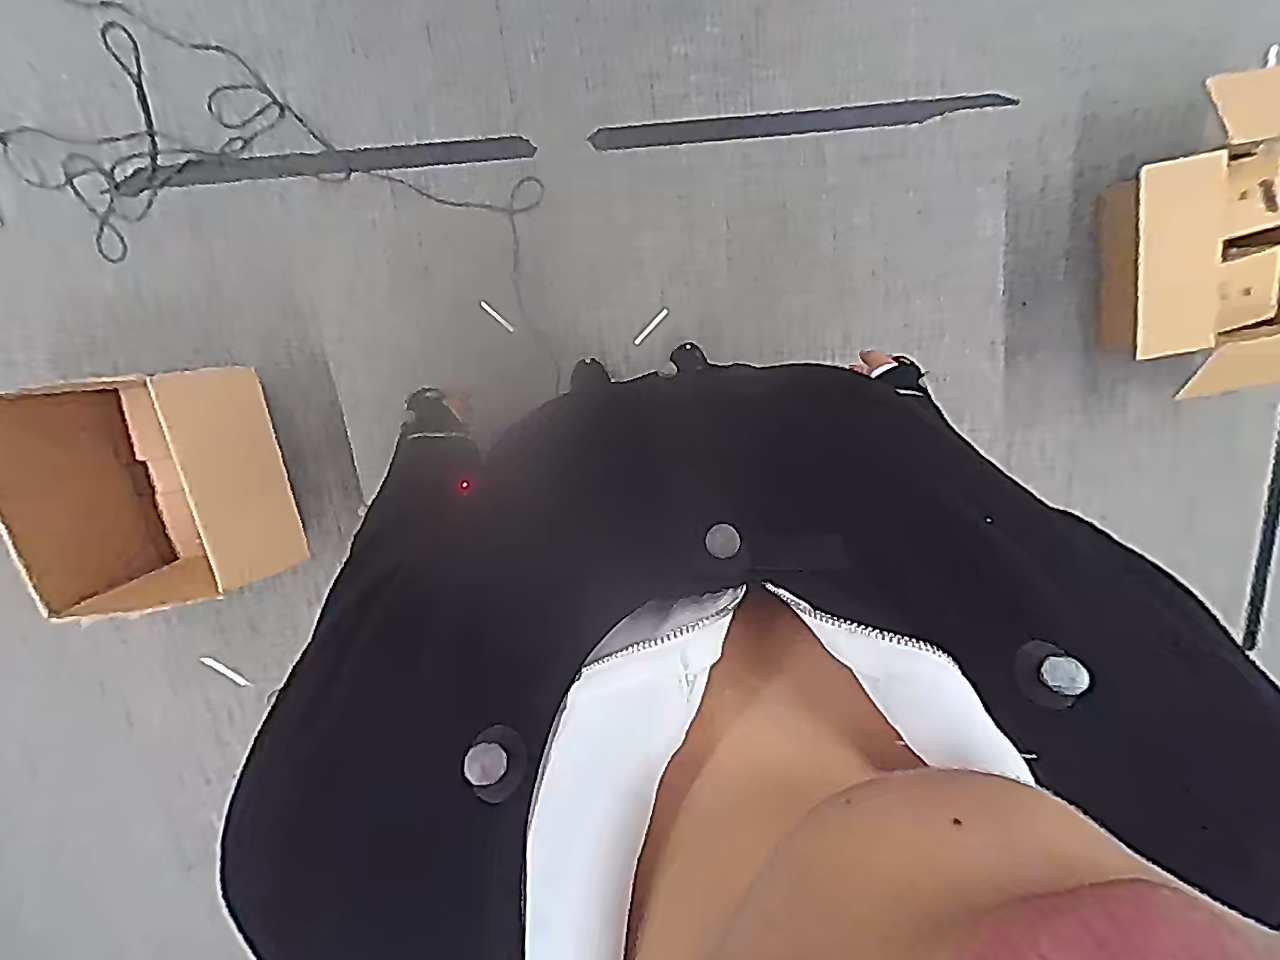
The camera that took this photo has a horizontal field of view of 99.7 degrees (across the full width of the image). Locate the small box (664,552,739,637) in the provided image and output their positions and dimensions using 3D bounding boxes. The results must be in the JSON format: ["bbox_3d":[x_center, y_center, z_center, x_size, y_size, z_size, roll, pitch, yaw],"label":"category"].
[{"bbox_3d":[0.160,0.301,1.453,0.179,0.176,0.168,-5,101,0],"label":"small box"}]
